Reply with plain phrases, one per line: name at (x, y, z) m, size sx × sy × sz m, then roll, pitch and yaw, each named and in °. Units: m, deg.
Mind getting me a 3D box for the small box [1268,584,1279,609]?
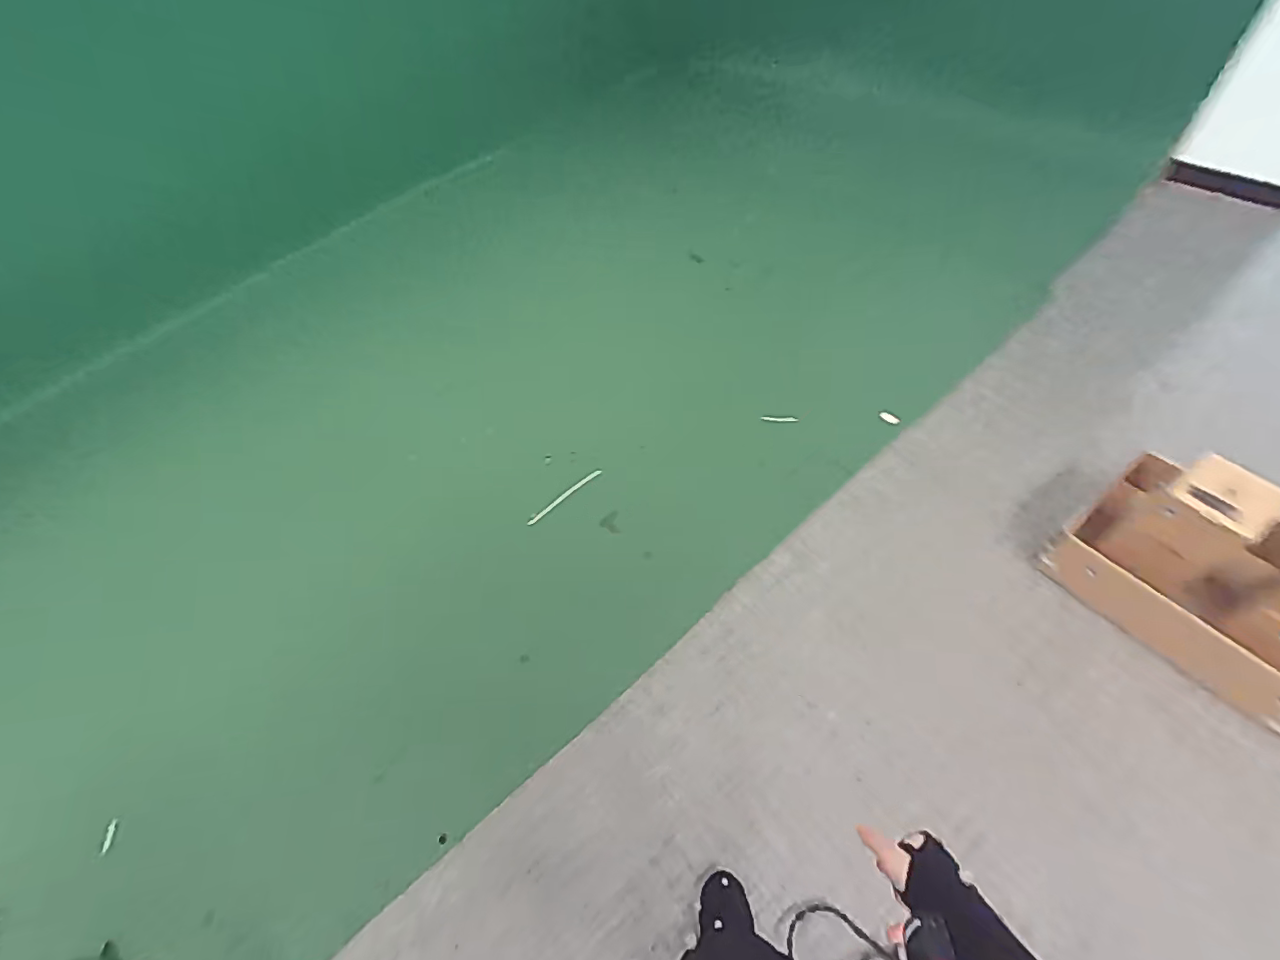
small box at (1.494, 0.231, 1.118) m, size 0.168 × 0.176 × 0.179 m, roll -40°, pitch 59°, yaw -14°
